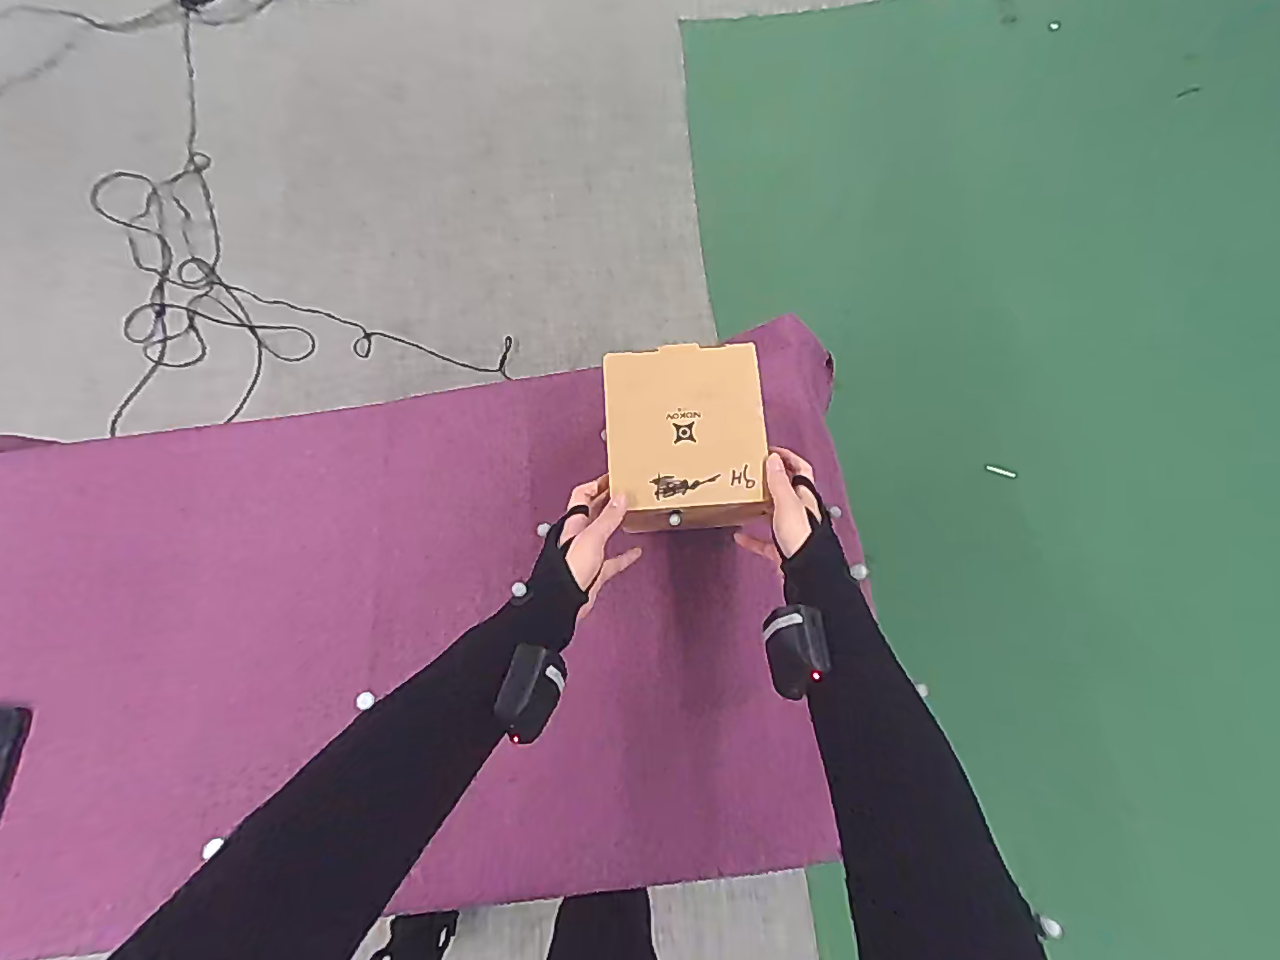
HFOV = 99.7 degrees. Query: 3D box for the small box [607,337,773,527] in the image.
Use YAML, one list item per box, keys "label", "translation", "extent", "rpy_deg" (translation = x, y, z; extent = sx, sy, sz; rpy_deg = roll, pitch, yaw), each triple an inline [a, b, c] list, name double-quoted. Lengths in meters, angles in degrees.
- label: "small box"
  translation: [0.052, -0.046, 0.639]
  extent: [0.168, 0.176, 0.179]
  rpy_deg: [-4, 77, 3]
